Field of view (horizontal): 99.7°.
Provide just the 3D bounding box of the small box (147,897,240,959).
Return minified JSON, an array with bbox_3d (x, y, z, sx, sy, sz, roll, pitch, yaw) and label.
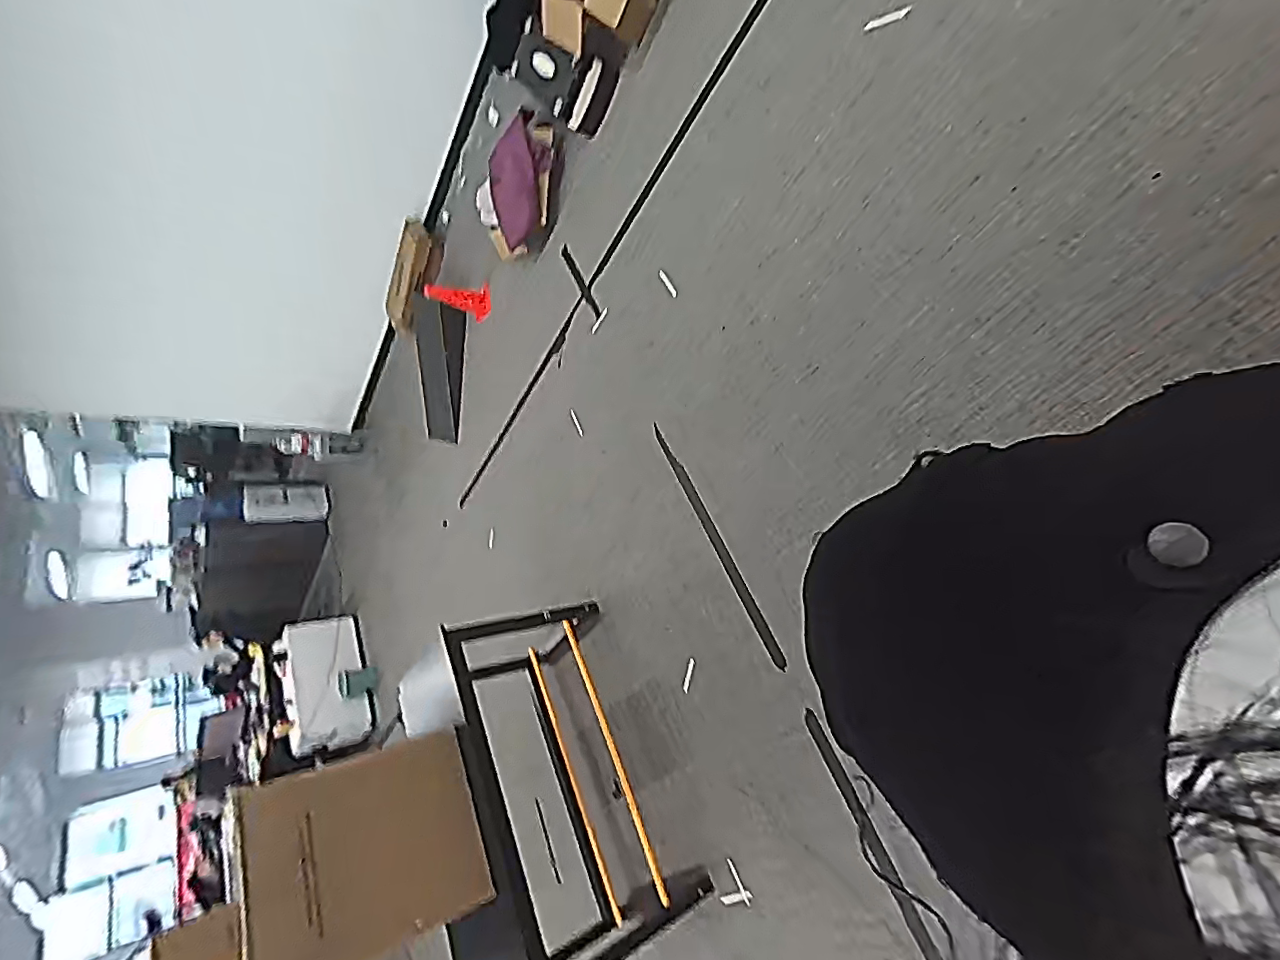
[{"bbox_3d":[-1.123,1.189,1.361,0.179,0.176,0.168,-45,58,34],"label":"small box"}]
